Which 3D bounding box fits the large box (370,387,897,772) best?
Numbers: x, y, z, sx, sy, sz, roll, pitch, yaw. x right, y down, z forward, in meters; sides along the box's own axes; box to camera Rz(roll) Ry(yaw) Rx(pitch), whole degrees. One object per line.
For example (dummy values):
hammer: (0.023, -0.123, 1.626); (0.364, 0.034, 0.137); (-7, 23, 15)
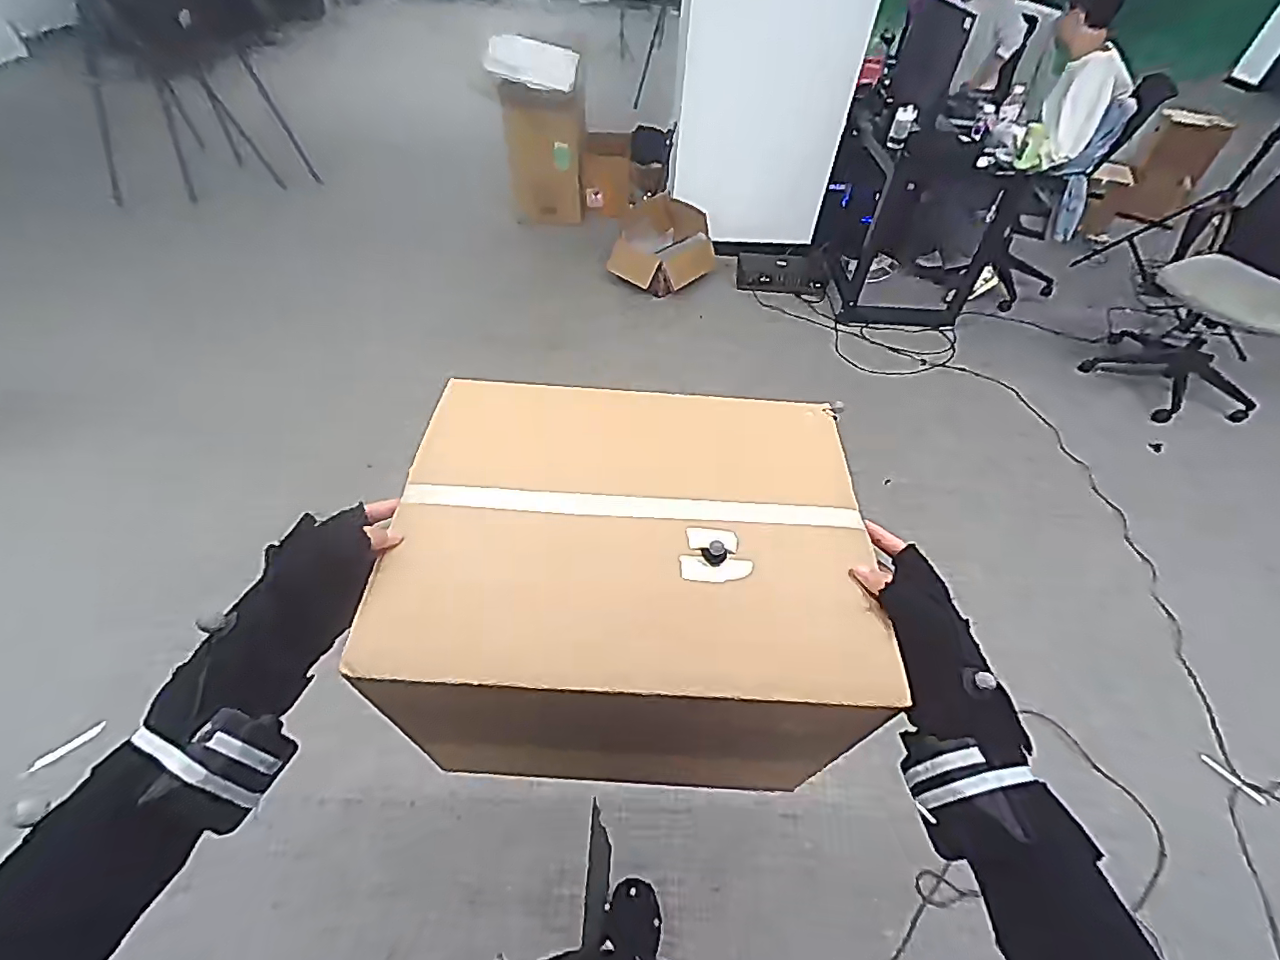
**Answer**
large box: (-0.009, 0.121, 0.607); (0.408, 0.320, 0.320); (4, 51, -2)
